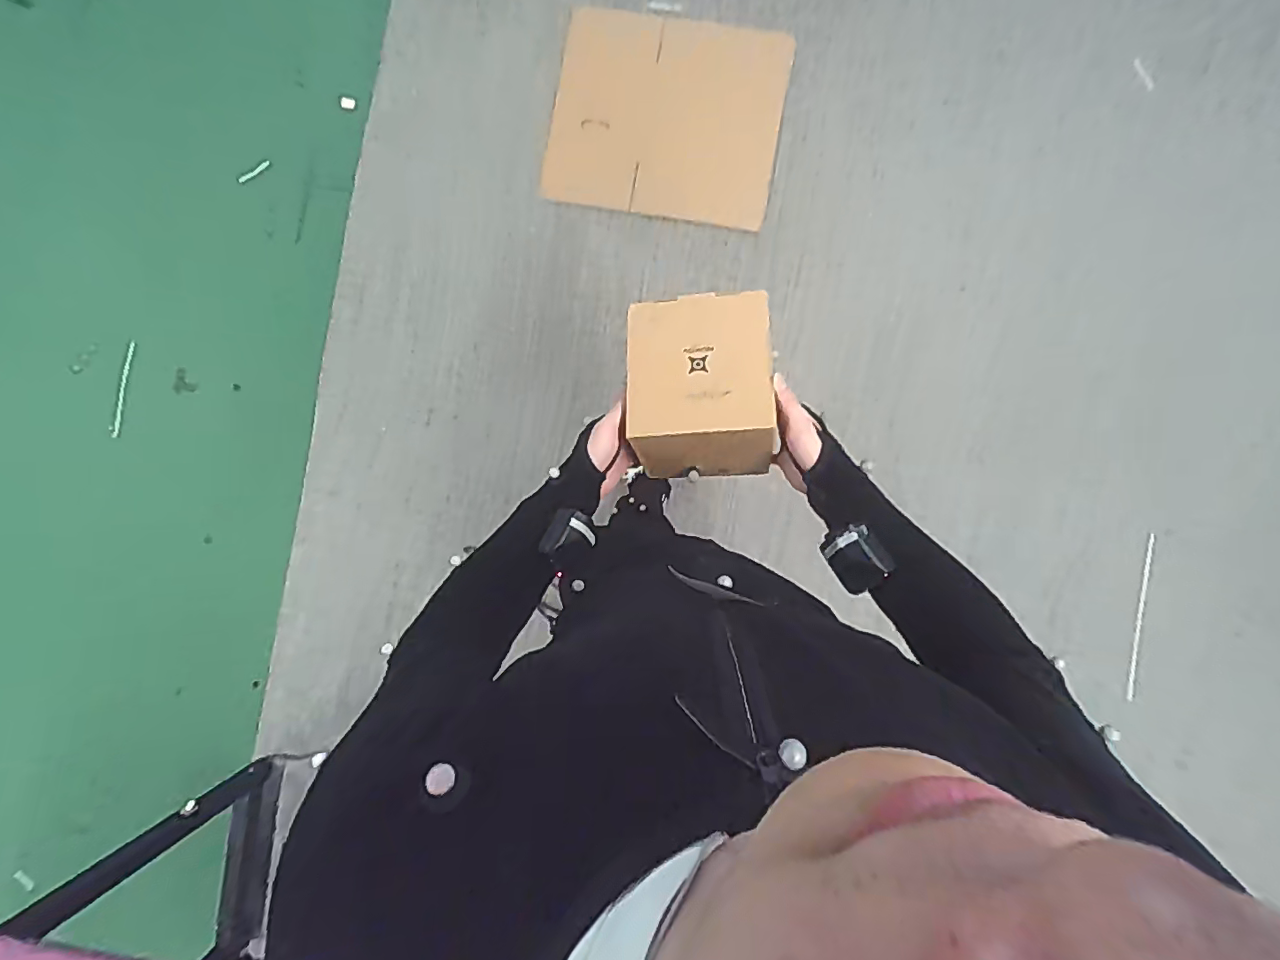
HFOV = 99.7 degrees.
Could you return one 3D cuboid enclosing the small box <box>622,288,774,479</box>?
[{"bbox_3d":[0.076,-0.111,0.680,0.168,0.176,0.179,-2,72,10],"label":"small box"}]
